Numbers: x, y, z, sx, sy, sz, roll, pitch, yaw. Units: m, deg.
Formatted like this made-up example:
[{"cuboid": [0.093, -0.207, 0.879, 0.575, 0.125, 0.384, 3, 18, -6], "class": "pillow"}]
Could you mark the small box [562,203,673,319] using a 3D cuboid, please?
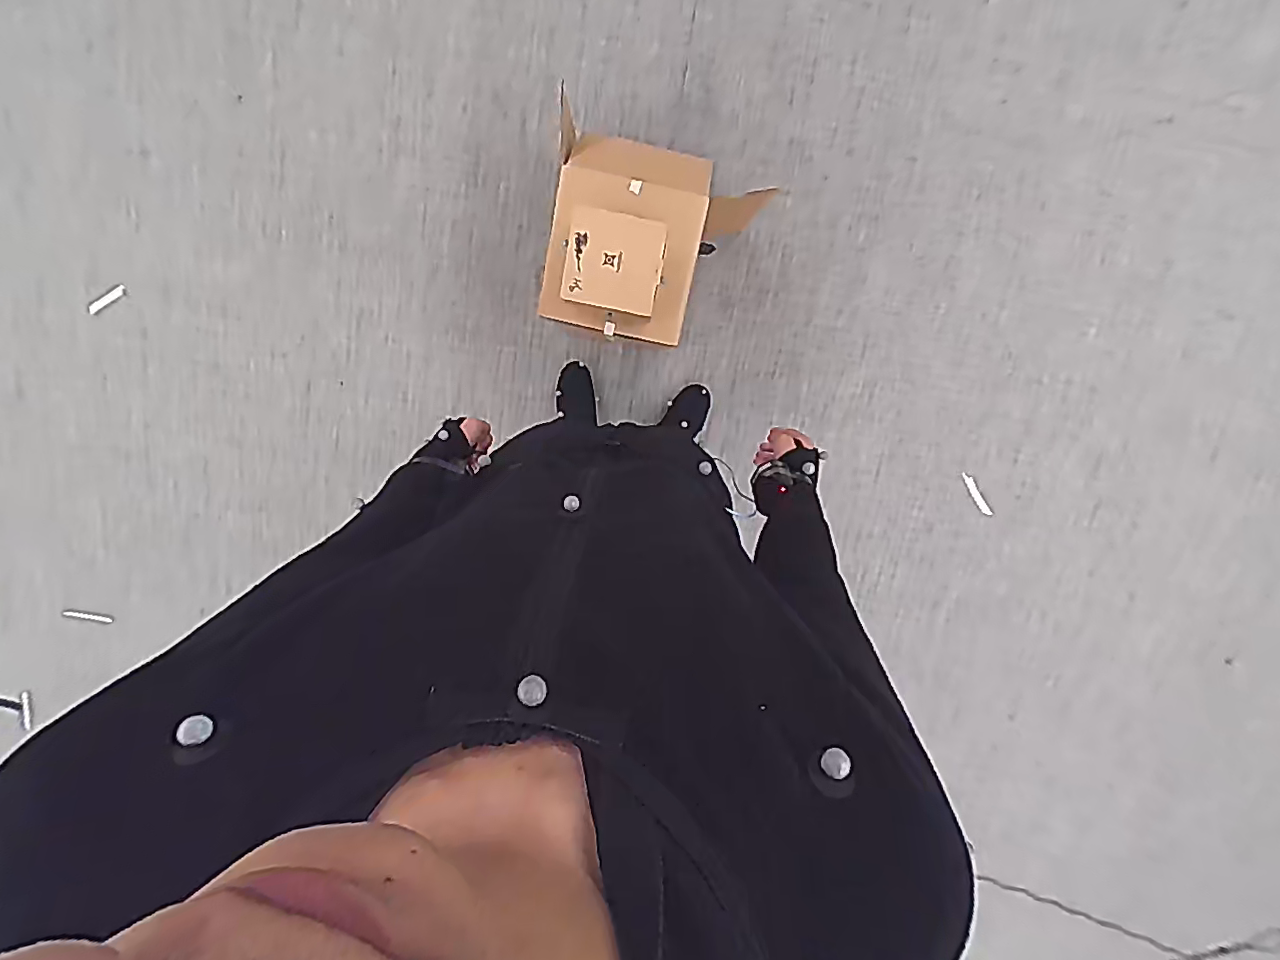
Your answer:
[{"cuboid": [-0.042, -0.414, 1.050, 0.179, 0.176, 0.168, 12, 103, -3], "class": "small box"}]
